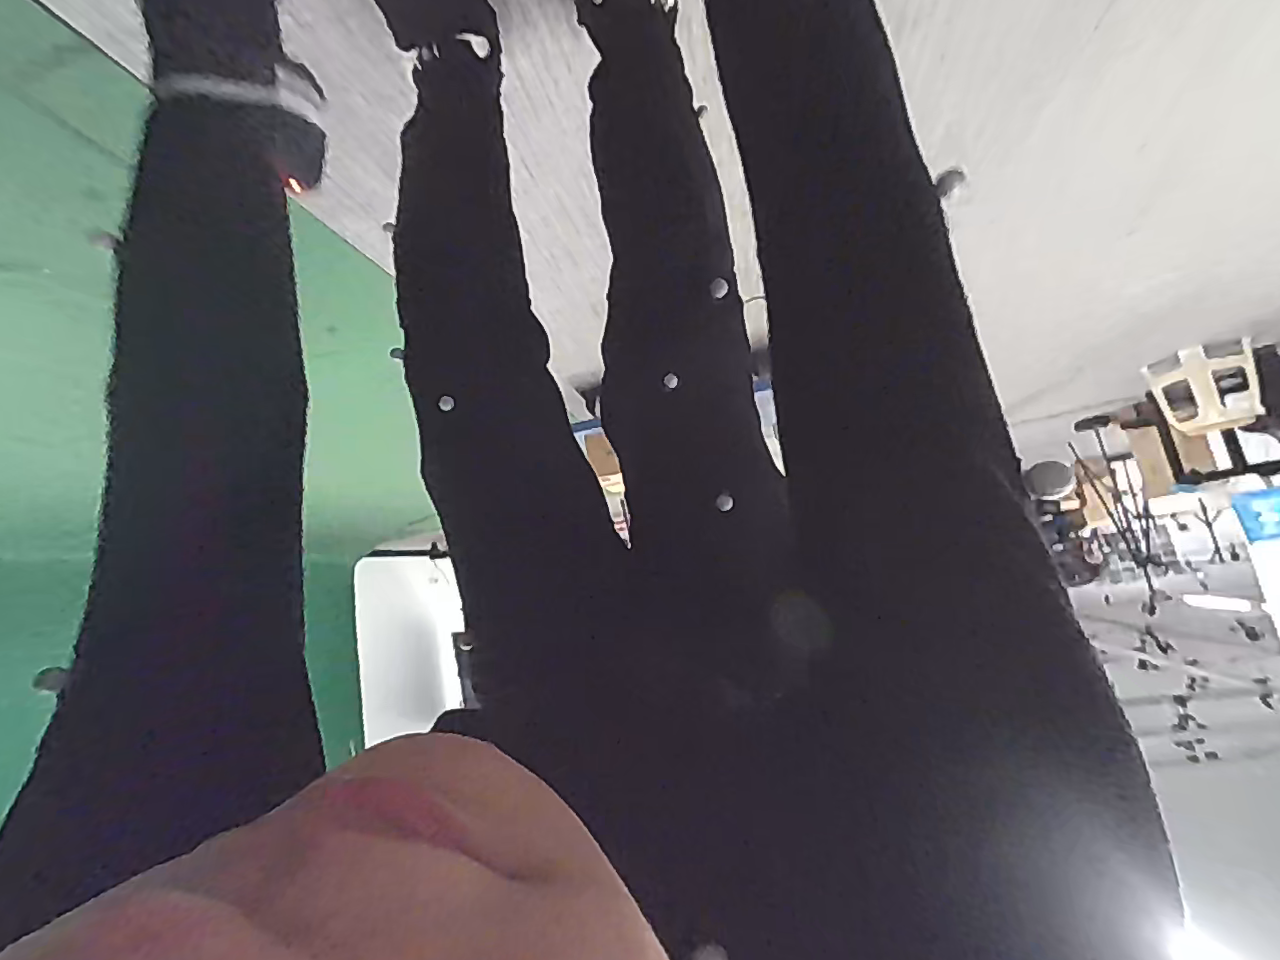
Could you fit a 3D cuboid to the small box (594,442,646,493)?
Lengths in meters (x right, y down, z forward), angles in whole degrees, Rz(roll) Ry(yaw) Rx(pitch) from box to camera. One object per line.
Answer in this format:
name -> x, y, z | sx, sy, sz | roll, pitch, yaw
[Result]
small box -> -0.085, -0.053, 2.278 | 0.179, 0.176, 0.168 | -11, 169, 8
